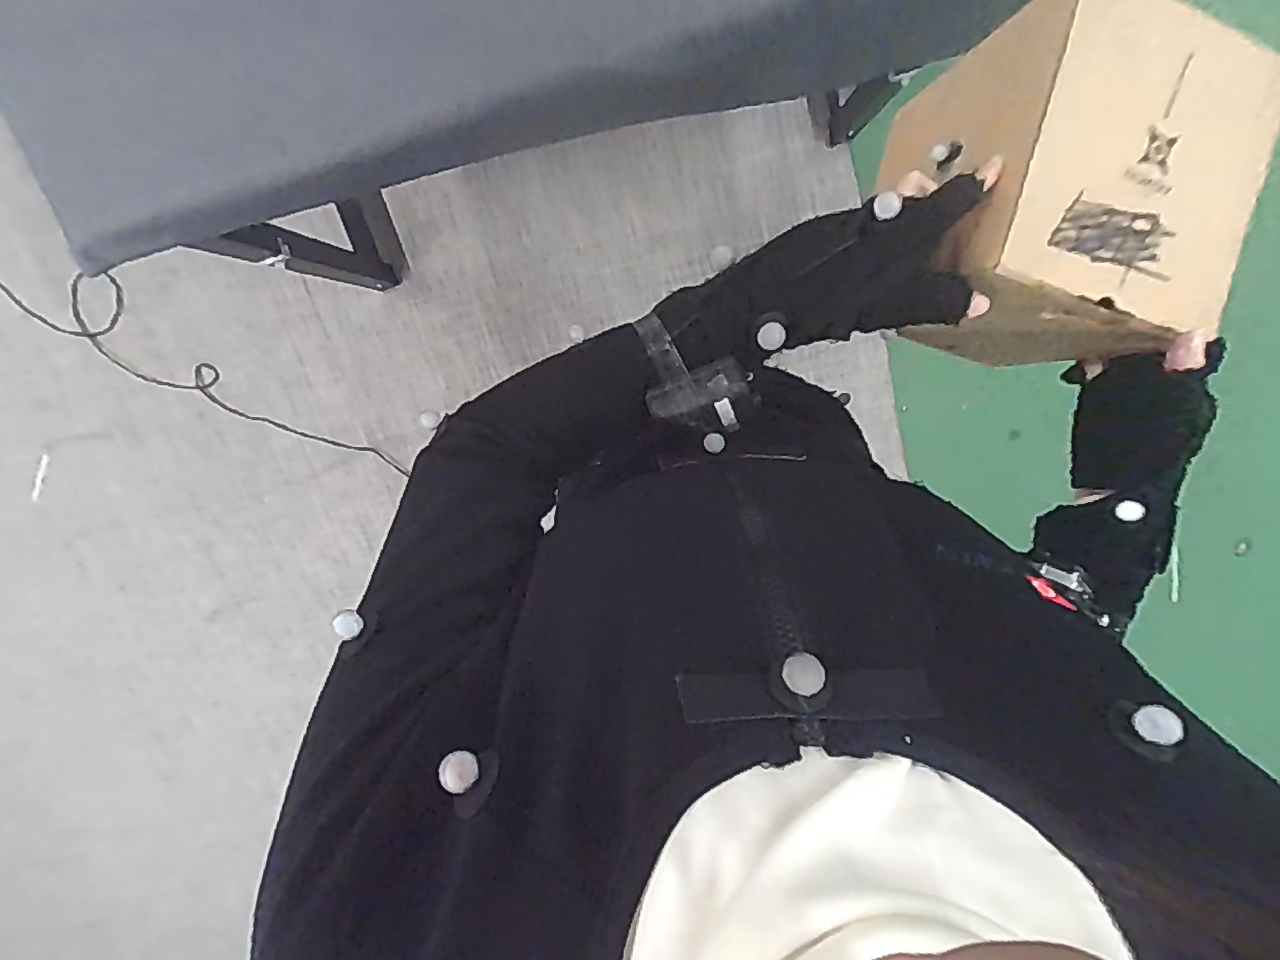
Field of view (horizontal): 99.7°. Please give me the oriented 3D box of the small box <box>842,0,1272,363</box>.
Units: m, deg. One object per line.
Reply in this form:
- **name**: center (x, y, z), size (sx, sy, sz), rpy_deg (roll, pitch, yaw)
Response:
- **small box**: center (0.281, -0.196, 0.406), size (0.168, 0.176, 0.179), rpy_deg (14, 94, -13)
